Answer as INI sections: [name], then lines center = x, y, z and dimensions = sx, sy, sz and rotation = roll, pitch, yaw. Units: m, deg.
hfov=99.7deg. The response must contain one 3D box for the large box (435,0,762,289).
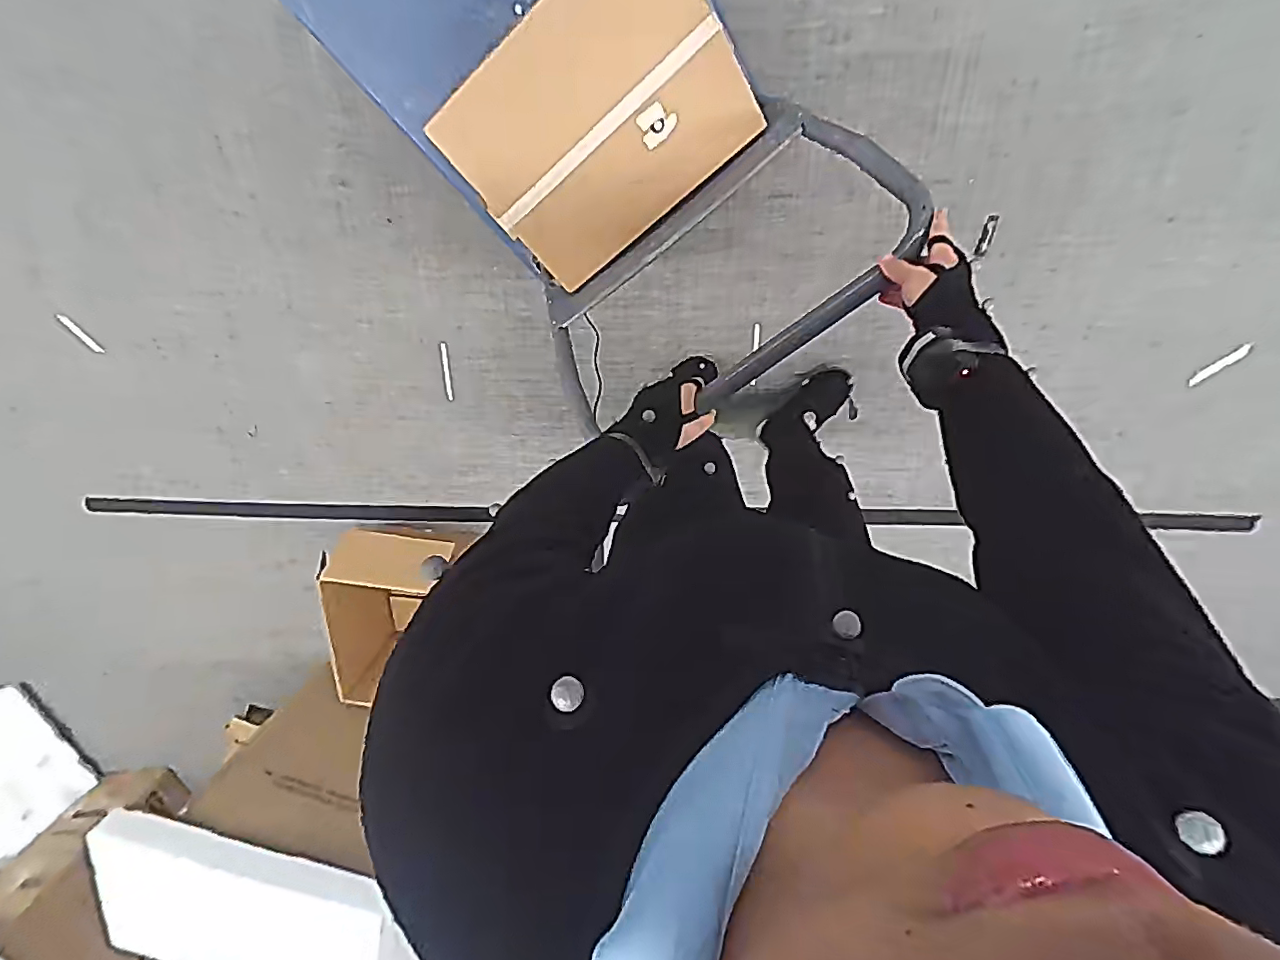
[large box]
center = -0.080, -0.615, 0.912
dimensions = 0.408, 0.320, 0.320
rotation = -36, 128, 17
